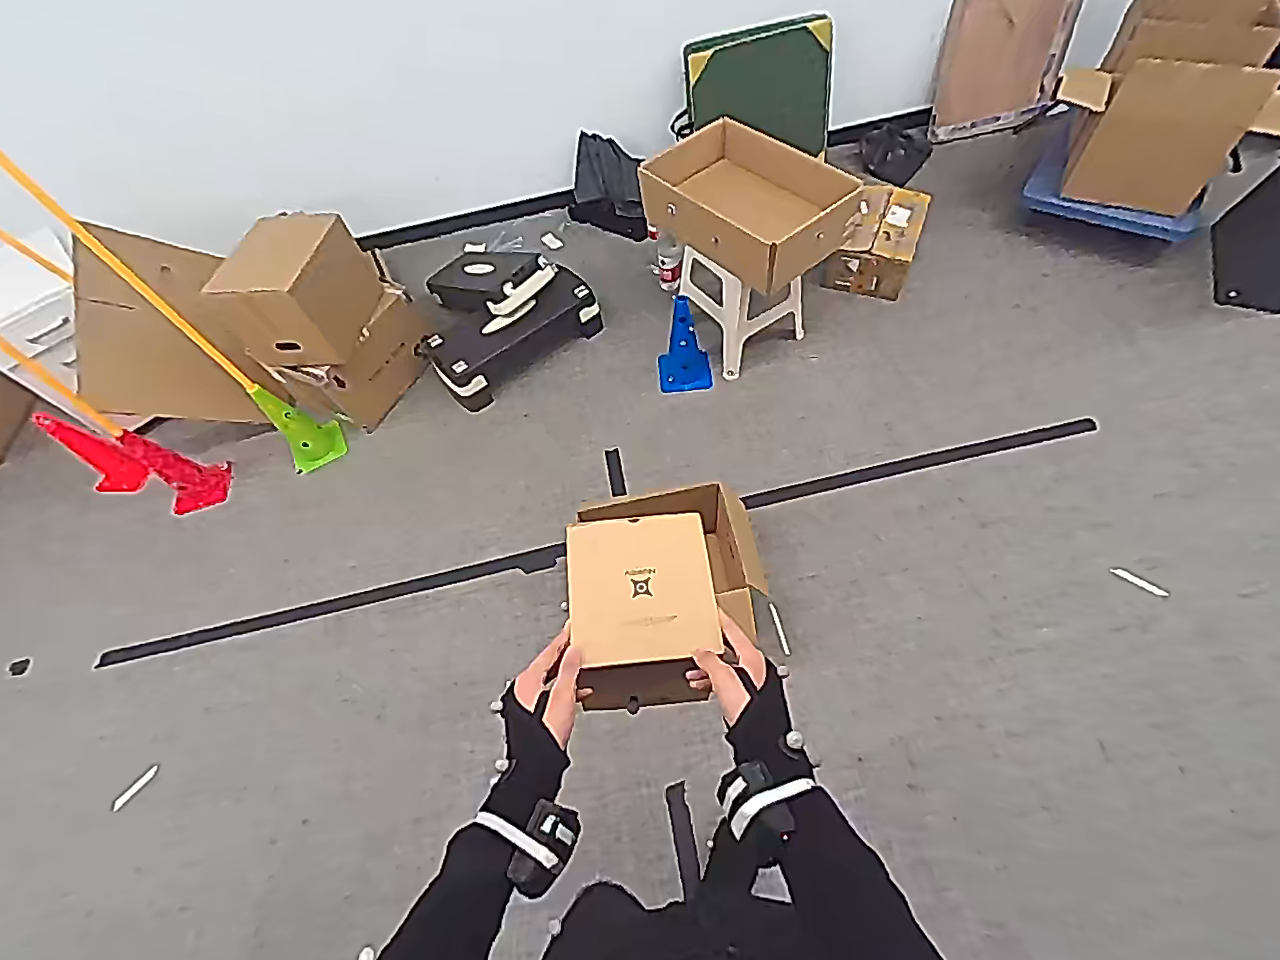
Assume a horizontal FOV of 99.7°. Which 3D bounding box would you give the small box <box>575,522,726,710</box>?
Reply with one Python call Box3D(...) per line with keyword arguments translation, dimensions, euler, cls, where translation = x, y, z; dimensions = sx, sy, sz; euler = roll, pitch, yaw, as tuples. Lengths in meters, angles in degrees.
Box3D(translation=(0.004, 0.174, 0.691), dimensions=(0.168, 0.176, 0.179), euler=(-4, 51, -4), cls="small box")
